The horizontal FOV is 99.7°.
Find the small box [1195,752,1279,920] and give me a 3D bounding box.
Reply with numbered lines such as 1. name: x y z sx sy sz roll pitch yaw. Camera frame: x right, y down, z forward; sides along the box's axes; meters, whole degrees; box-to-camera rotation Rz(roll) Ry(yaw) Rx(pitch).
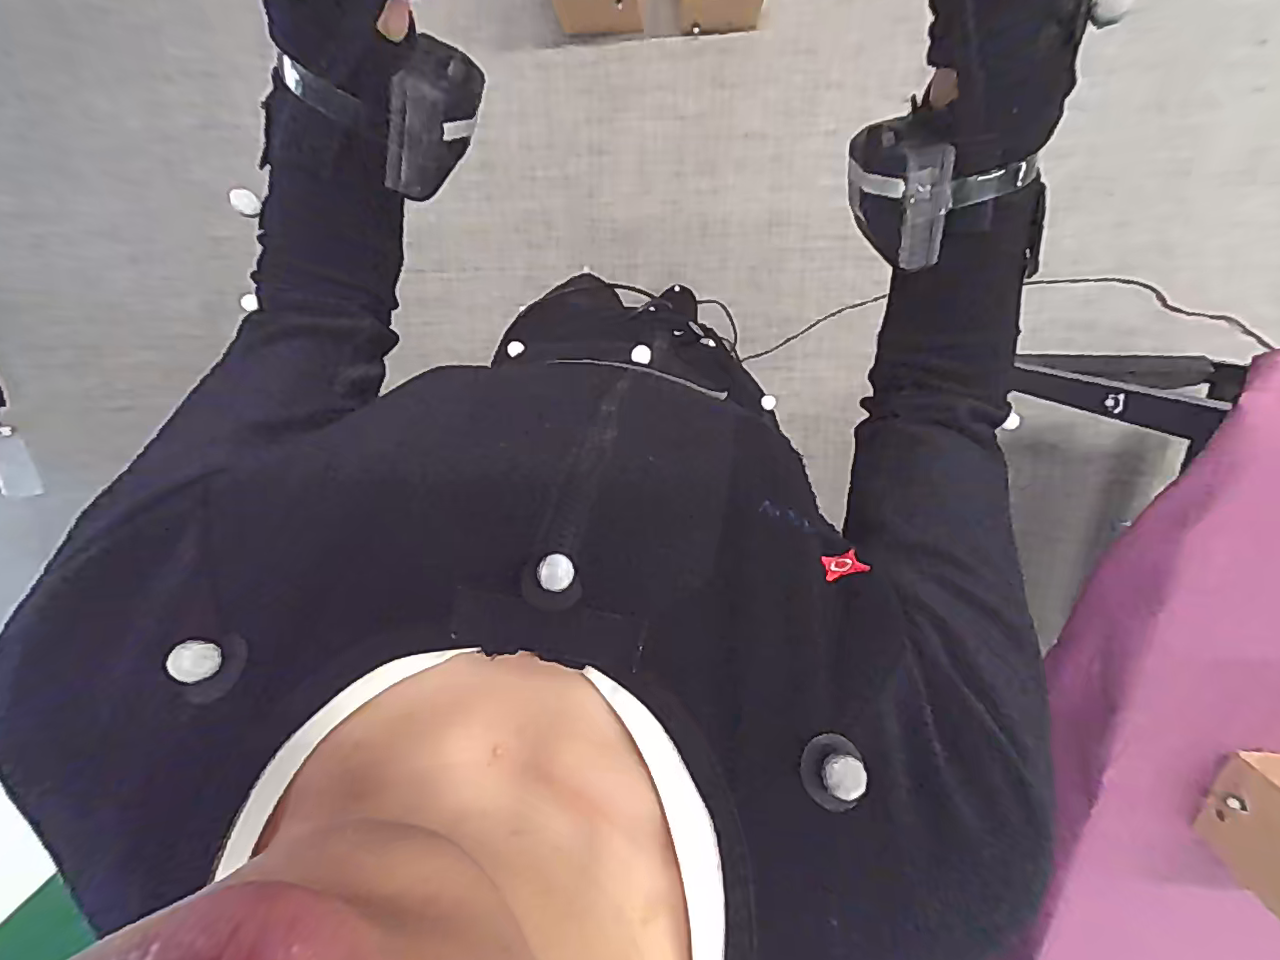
1. small box: 0.952 0.506 0.744 0.179 0.176 0.168 6 108 3

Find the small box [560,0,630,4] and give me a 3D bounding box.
1. small box: -0.090 -0.975 0.933 0.168 0.176 0.179 0 107 4

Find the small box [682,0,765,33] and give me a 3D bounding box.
1. small box: 0.167 -1.022 1.069 0.168 0.176 0.179 -1 107 4
